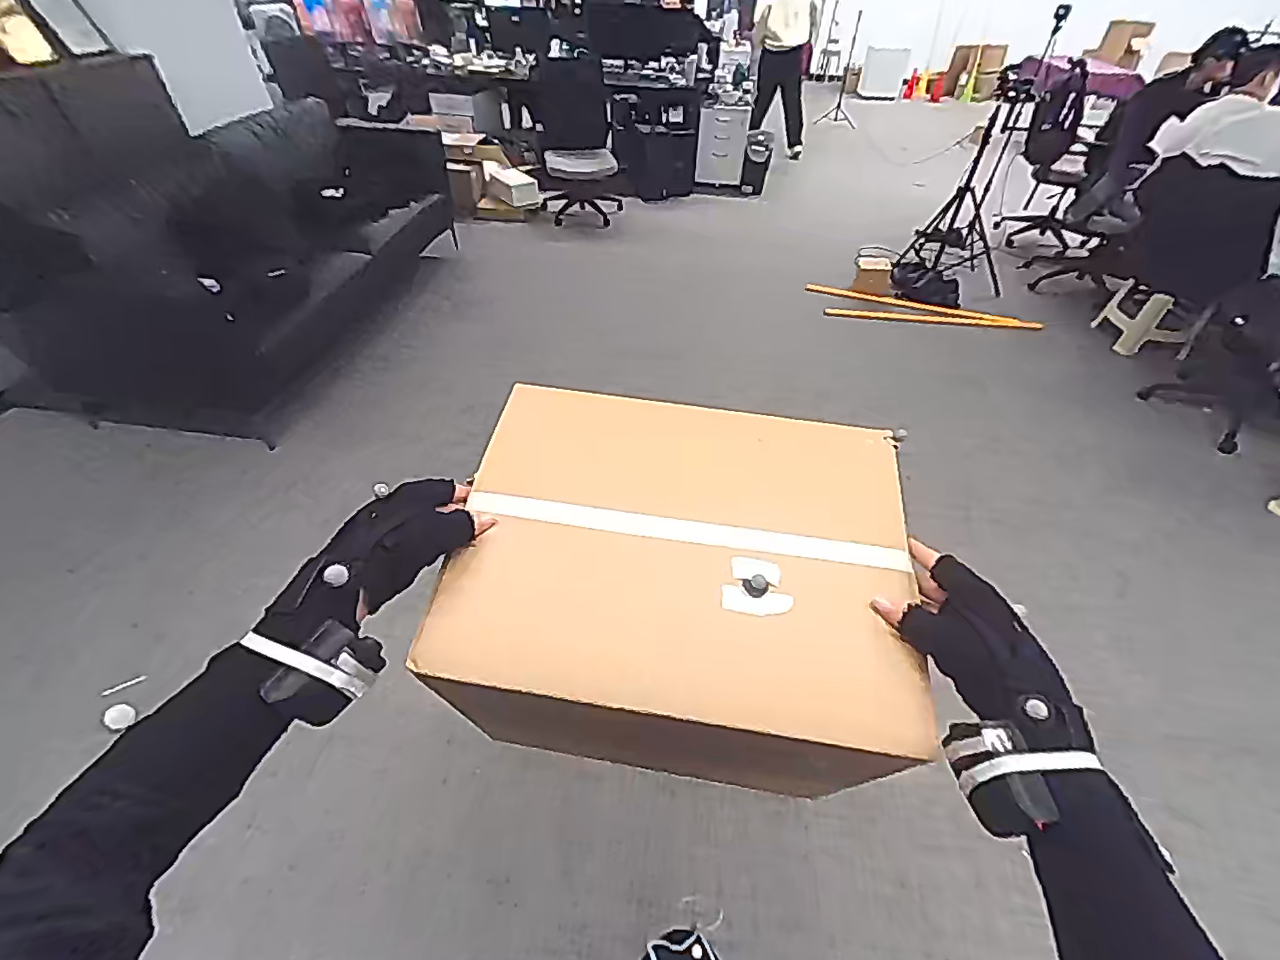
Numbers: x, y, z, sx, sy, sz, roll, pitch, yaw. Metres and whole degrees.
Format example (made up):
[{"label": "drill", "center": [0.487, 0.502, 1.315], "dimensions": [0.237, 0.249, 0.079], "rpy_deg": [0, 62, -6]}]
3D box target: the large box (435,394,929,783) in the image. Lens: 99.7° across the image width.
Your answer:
[{"label": "large box", "center": [0.042, 0.136, 0.630], "dimensions": [0.408, 0.320, 0.320], "rpy_deg": [8, 56, 3]}]
